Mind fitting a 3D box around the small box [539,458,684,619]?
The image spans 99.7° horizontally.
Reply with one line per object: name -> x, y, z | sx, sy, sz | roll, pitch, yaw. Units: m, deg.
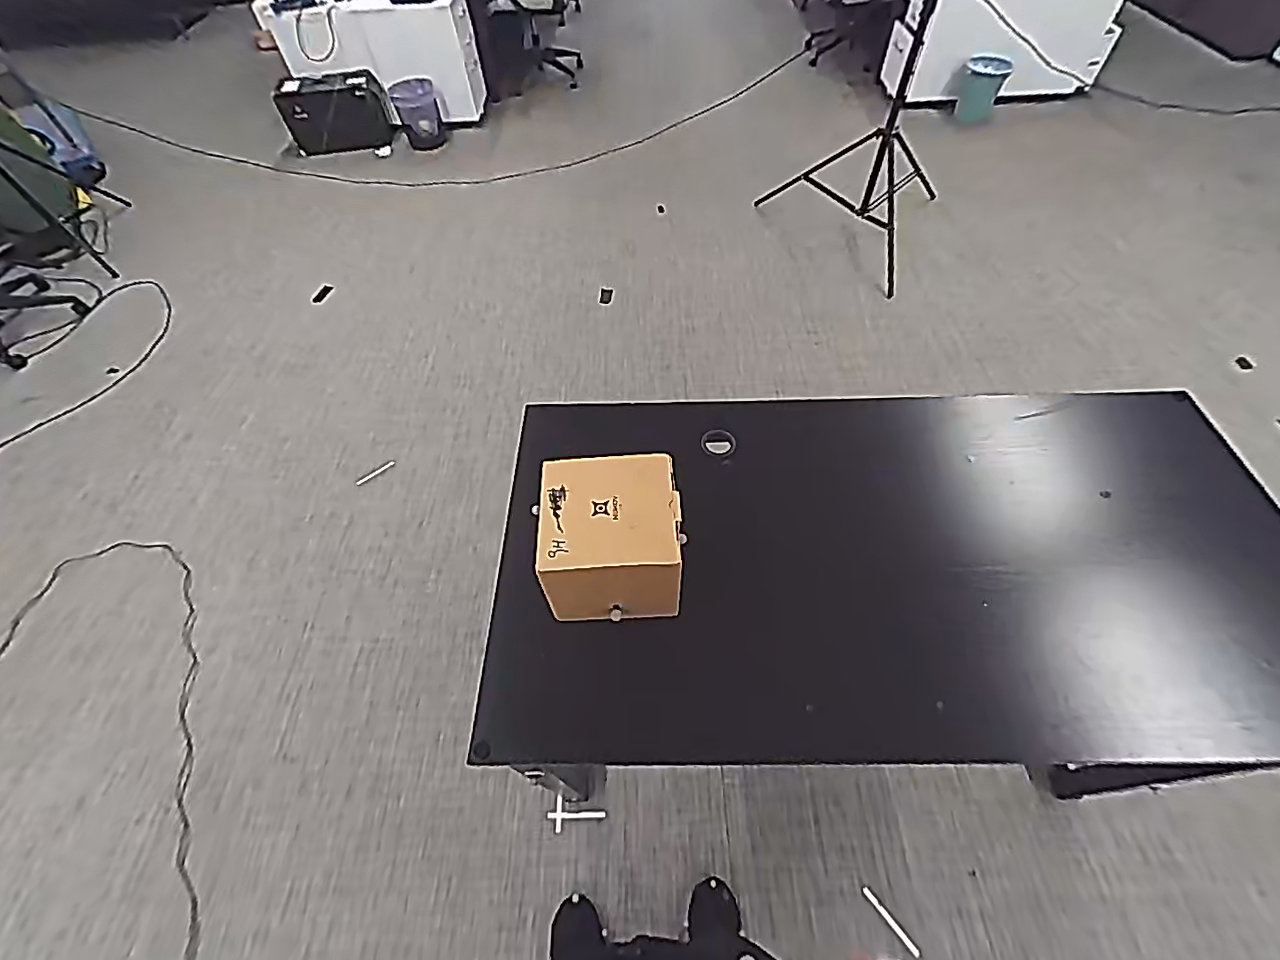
small box -> -0.037, 0.085, 0.754 | 0.179, 0.176, 0.168 | -2, 54, -1
